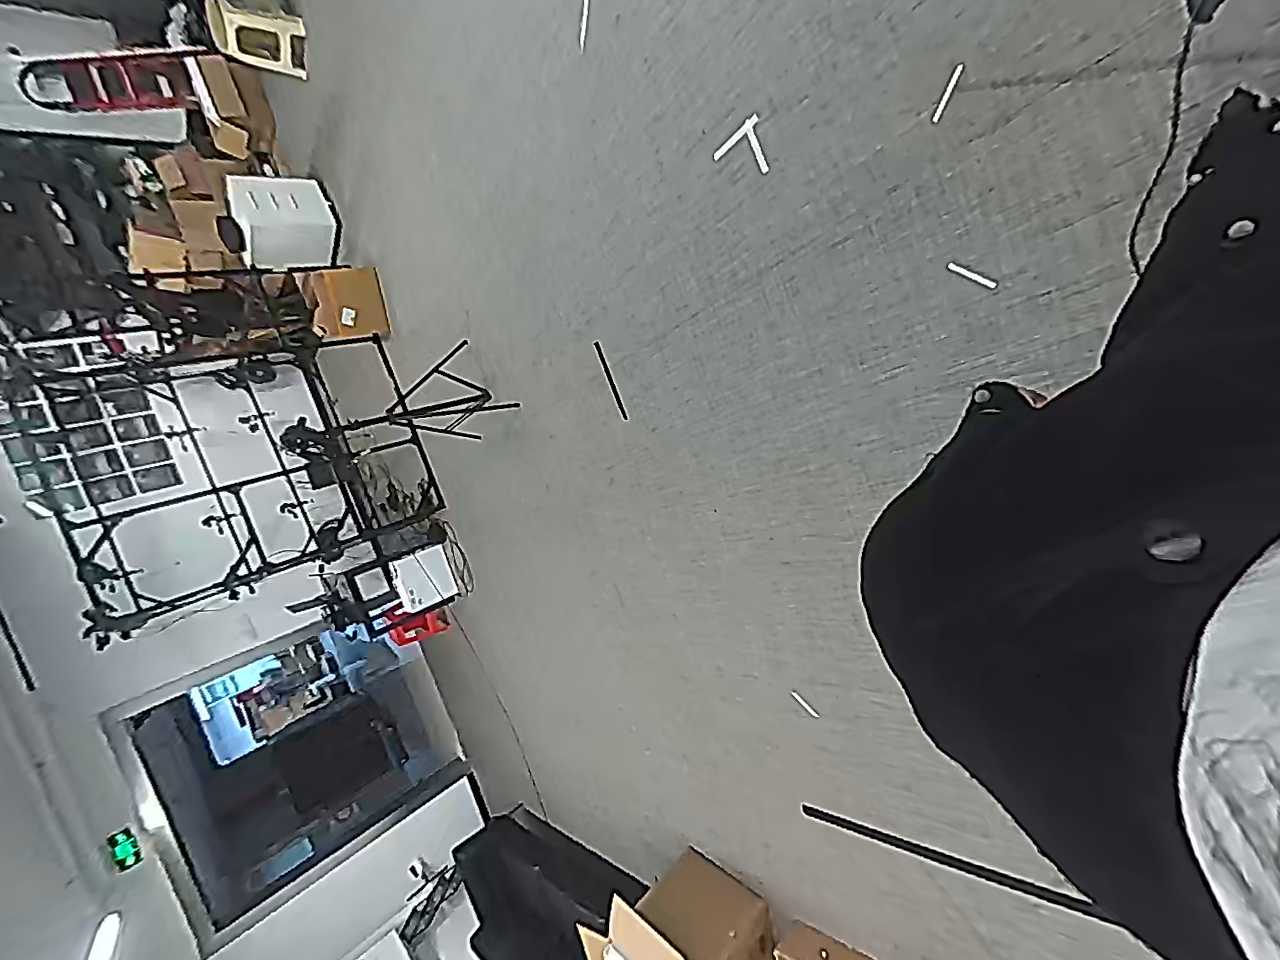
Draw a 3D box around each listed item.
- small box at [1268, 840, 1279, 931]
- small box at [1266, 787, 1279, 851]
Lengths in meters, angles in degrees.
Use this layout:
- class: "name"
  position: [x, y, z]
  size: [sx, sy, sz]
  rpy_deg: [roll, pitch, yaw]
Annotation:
- class: "small box"
  position: [1.262, 0.793, 0.957]
  size: [0.168, 0.176, 0.179]
  rpy_deg: [-20, 91, 50]
- class: "small box"
  position: [1.376, 0.744, 1.062]
  size: [0.179, 0.176, 0.168]
  rpy_deg: [-12, 98, 52]
